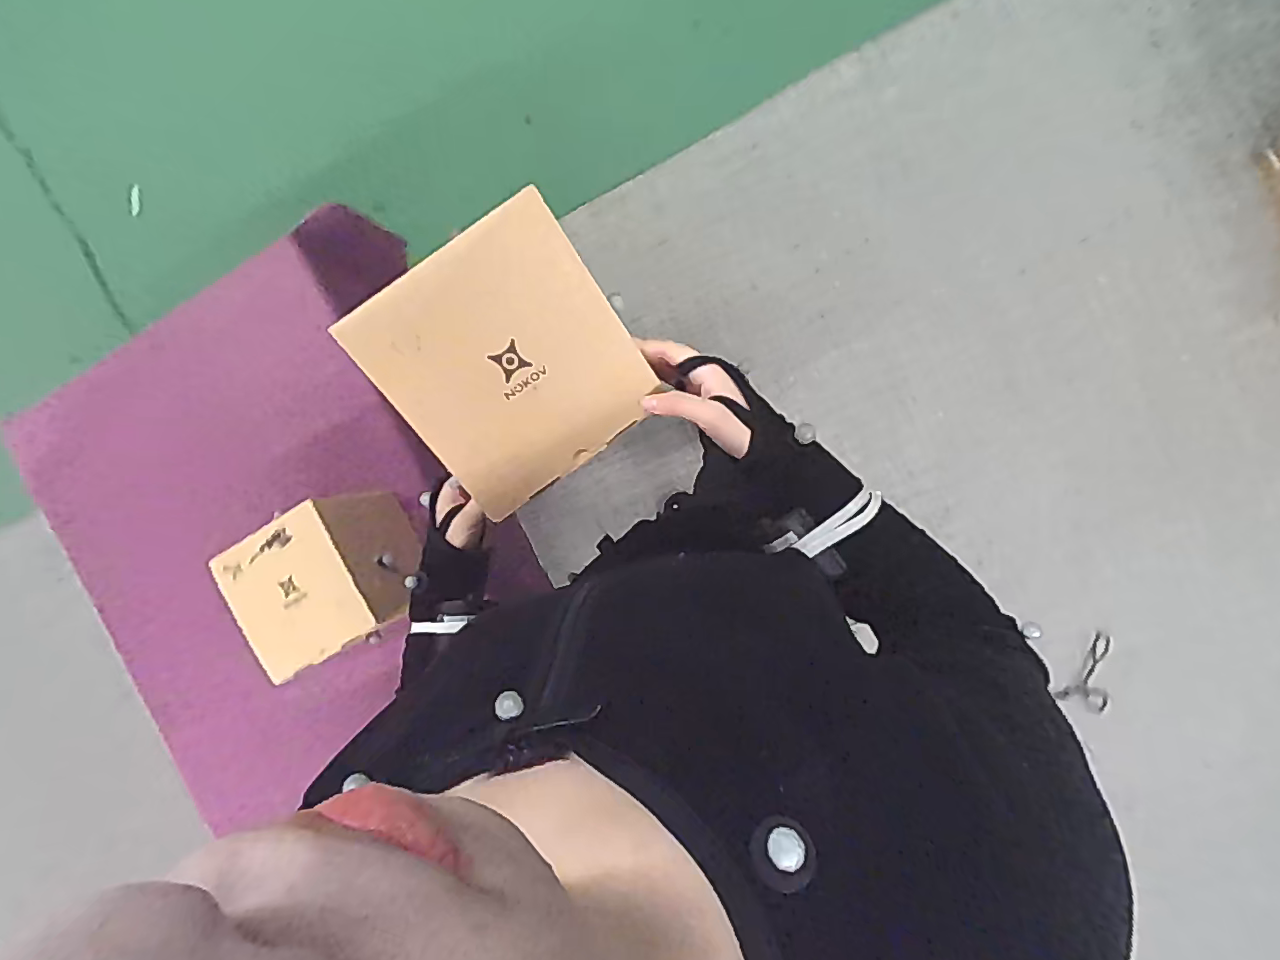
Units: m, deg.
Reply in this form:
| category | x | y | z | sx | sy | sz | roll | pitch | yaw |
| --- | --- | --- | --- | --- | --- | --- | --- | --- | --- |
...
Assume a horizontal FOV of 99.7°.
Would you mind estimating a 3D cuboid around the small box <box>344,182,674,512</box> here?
| category | x | y | z | sx | sy | sz | roll | pitch | yaw |
| --- | --- | --- | --- | --- | --- | --- | --- | --- | --- |
| small box | -0.102 | -0.108 | 0.455 | 0.168 | 0.176 | 0.179 | -35 | 112 | -1 |

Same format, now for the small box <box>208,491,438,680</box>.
| category | x | y | z | sx | sy | sz | roll | pitch | yaw |
| --- | --- | --- | --- | --- | --- | --- | --- | --- | --- |
| small box | -0.411 | 0.129 | 0.732 | 0.168 | 0.176 | 0.179 | -30 | 89 | 8 |

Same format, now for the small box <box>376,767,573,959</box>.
| category | x | y | z | sx | sy | sz | roll | pitch | yaw |
| --- | --- | --- | --- | --- | --- | --- | --- | --- | --- |
| small box | -0.206 | 0.527 | 0.724 | 0.179 | 0.176 | 0.168 | -29 | 88 | 8 |
